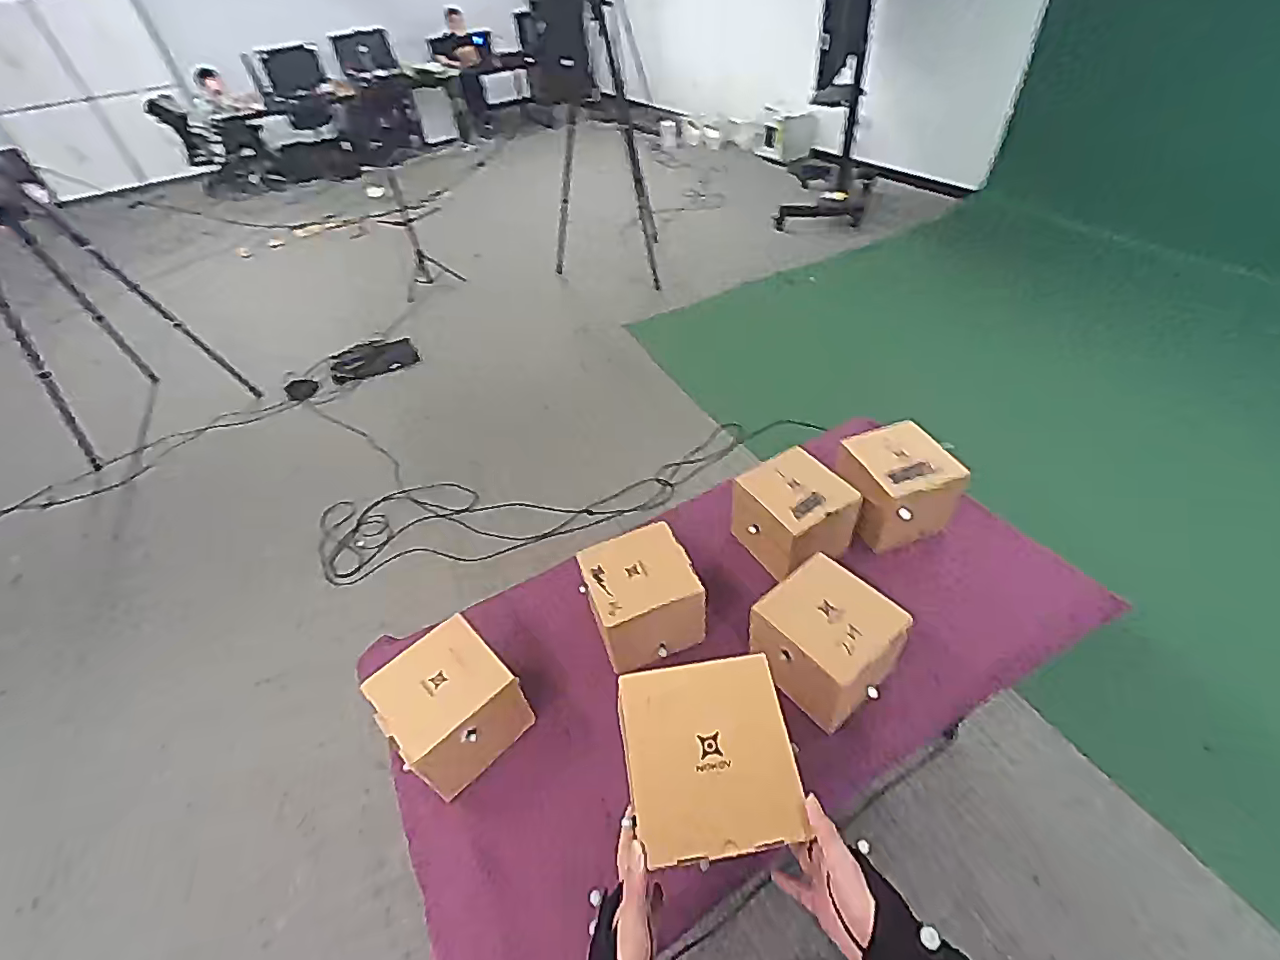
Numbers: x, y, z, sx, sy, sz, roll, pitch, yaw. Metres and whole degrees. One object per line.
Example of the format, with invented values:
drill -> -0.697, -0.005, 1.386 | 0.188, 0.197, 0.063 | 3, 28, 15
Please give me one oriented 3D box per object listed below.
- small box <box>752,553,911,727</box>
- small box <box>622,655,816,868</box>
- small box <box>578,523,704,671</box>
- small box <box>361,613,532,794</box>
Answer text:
small box -> 0.297, 0.259, 0.879 | 0.168, 0.176, 0.179 | -32, 48, -22
small box -> 0.070, 0.315, 0.605 | 0.168, 0.176, 0.179 | -6, 58, -6
small box -> 0.002, 0.211, 0.971 | 0.179, 0.176, 0.168 | -18, 46, -11
small box -> -0.298, 0.357, 0.861 | 0.179, 0.176, 0.168 | -36, 53, -27
